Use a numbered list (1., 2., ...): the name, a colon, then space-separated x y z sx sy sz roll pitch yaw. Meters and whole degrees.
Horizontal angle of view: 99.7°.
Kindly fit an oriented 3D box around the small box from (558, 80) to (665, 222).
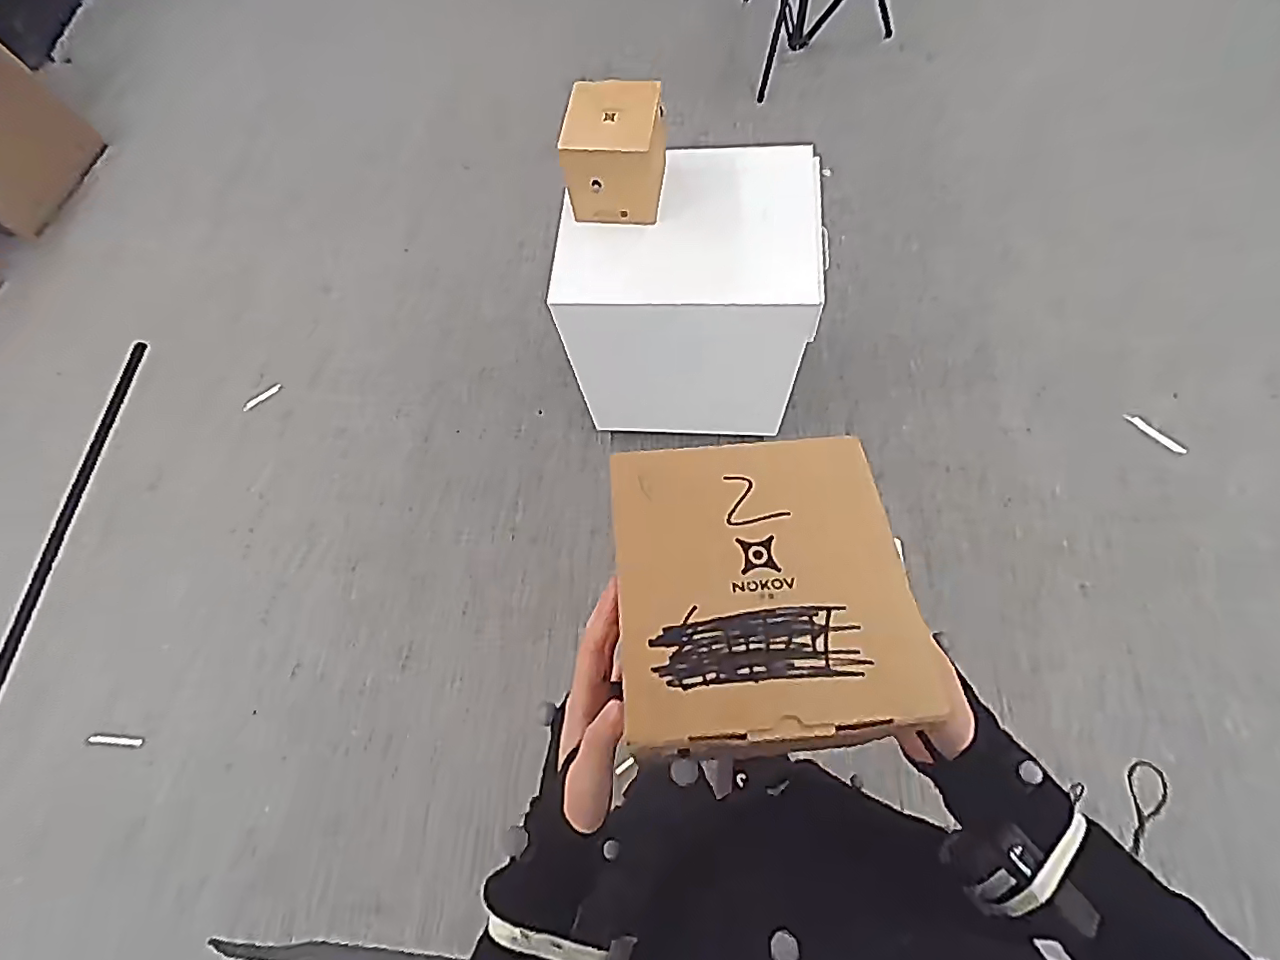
1. small box: -0.044 -0.620 1.032 0.168 0.176 0.179 6 70 7
